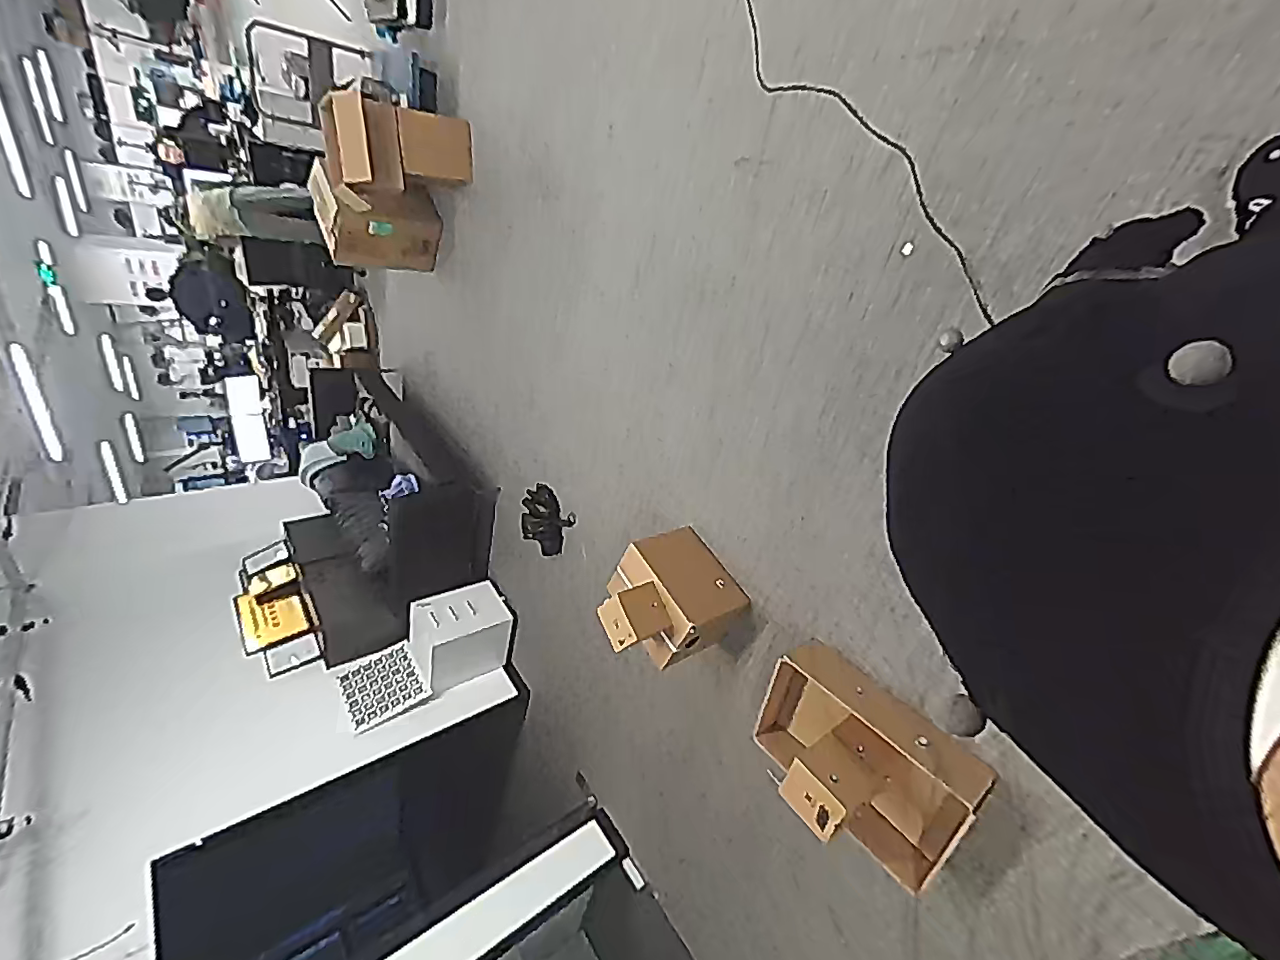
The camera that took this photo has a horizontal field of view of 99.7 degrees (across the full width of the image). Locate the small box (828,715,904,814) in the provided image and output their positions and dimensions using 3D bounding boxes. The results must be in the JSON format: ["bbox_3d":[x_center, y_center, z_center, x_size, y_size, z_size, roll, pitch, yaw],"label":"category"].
[{"bbox_3d":[0.663,0.854,1.643,0.179,0.176,0.168,37,126,42],"label":"small box"}]

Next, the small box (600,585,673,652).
[{"bbox_3d":[-0.014,0.497,1.961,0.168,0.176,0.179,-47,63,46],"label":"small box"}]

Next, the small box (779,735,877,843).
[{"bbox_3d":[0.537,0.869,1.537,0.179,0.176,0.168,40,128,40],"label":"small box"}]
